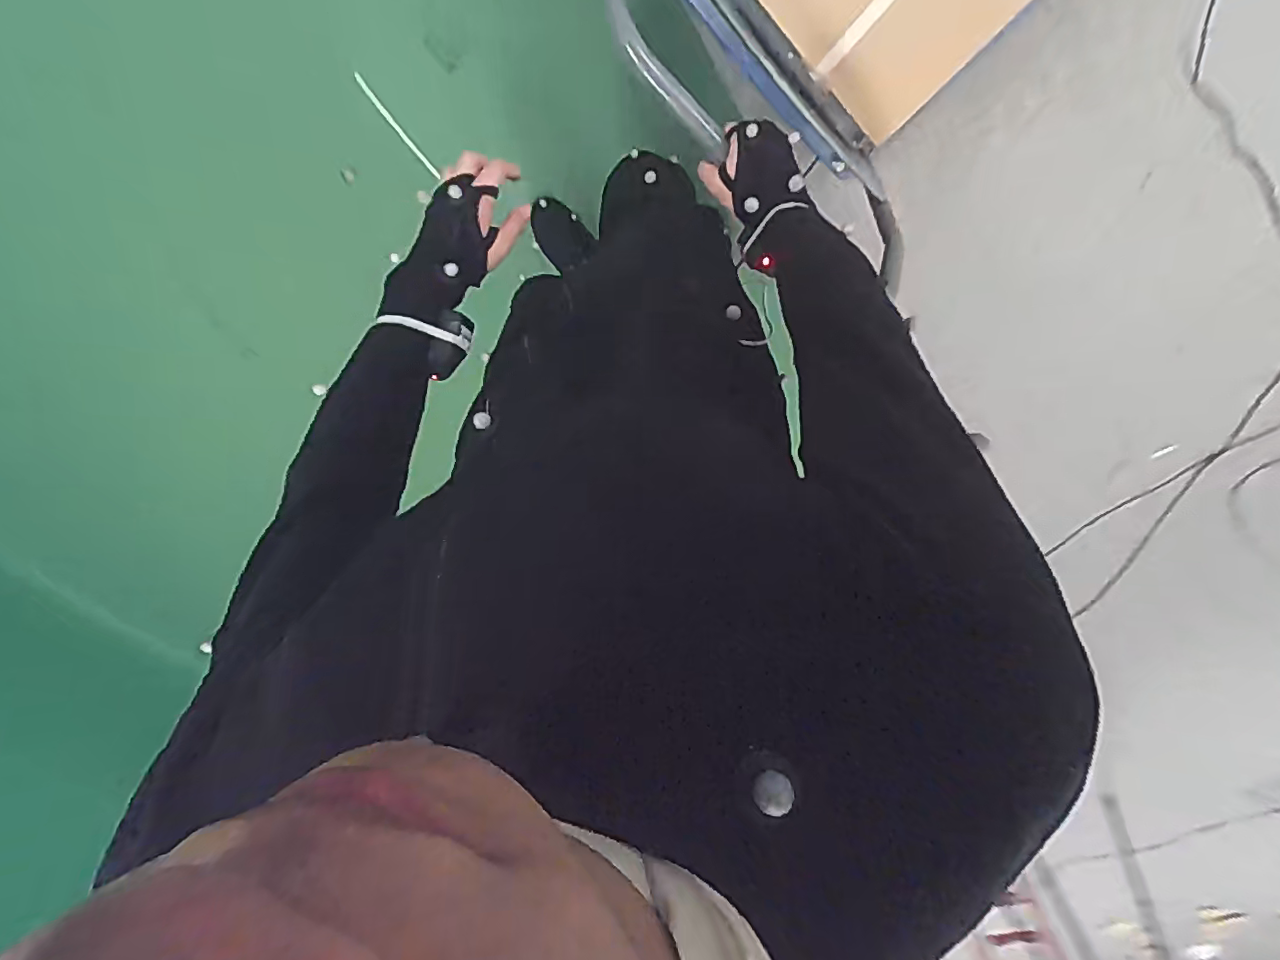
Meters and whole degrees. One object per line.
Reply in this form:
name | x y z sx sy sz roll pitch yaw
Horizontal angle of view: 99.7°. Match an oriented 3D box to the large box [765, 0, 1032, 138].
large box | 0.427 -0.828 0.813 0.320 0.320 0.408 35 128 -22
